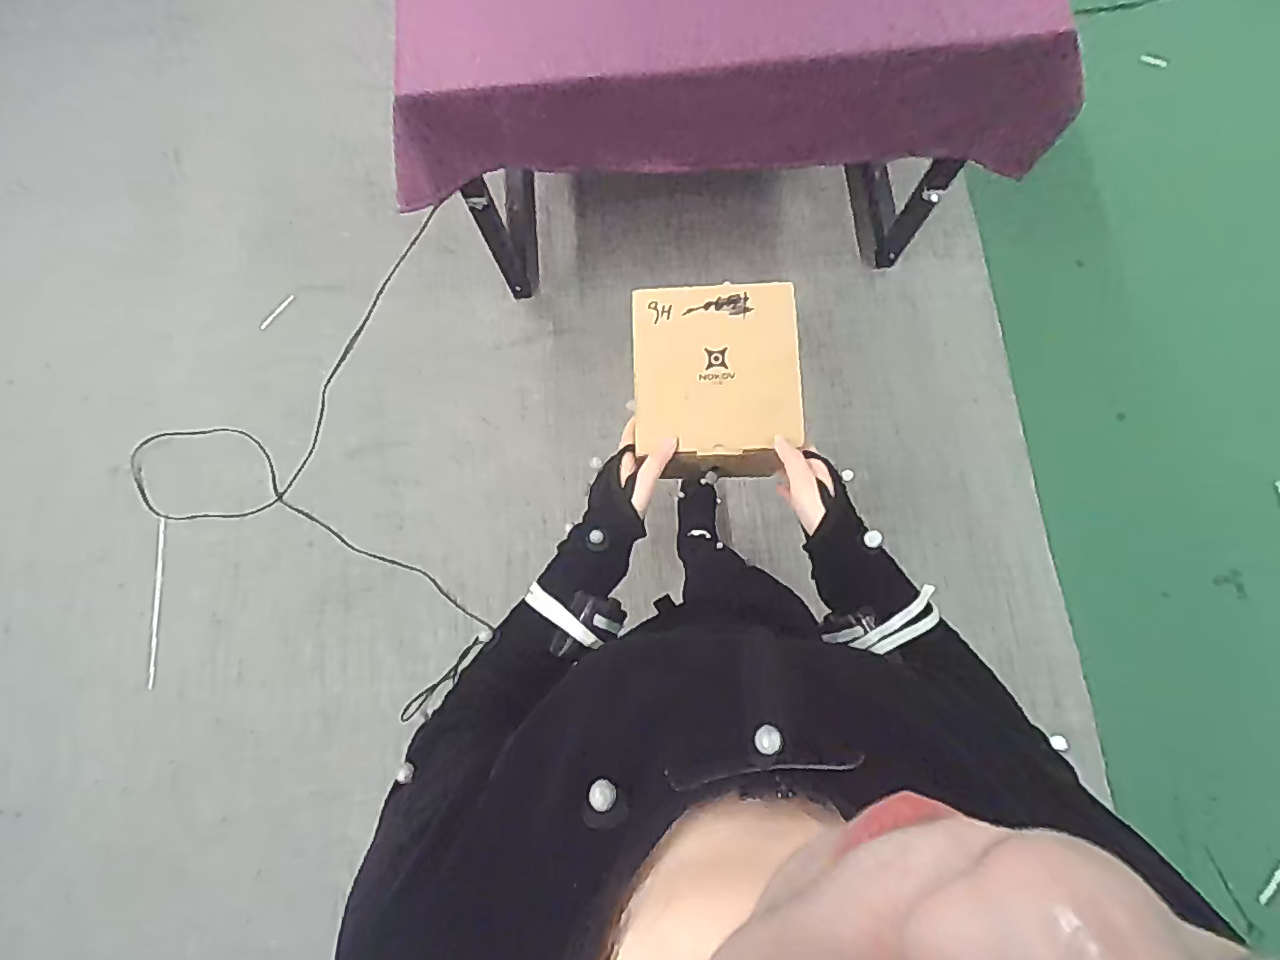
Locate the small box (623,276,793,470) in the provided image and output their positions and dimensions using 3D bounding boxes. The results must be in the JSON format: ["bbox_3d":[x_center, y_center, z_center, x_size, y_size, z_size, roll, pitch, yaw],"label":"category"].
[{"bbox_3d":[0.072,-0.107,0.618,0.168,0.176,0.179,-3,82,4],"label":"small box"}]
